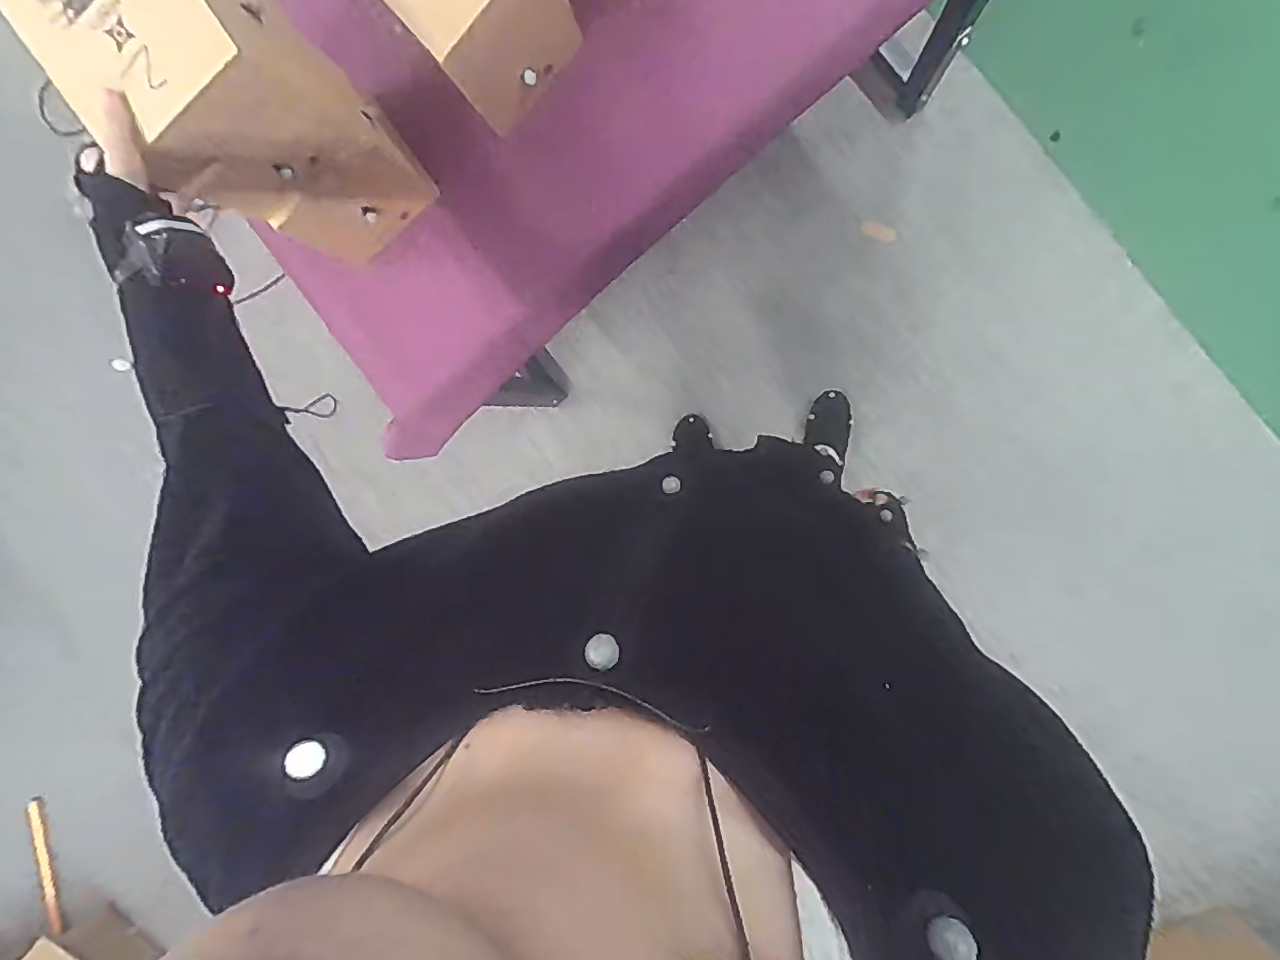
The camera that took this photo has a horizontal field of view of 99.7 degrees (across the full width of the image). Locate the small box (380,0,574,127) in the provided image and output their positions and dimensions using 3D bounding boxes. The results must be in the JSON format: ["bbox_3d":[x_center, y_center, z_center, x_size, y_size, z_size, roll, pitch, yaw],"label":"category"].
[{"bbox_3d":[-0.208,-0.581,0.650,0.168,0.176,0.179,-41,90,11],"label":"small box"}]

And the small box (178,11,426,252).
[{"bbox_3d":[-0.419,-0.423,0.701,0.168,0.176,0.179,-35,91,11],"label":"small box"}]
